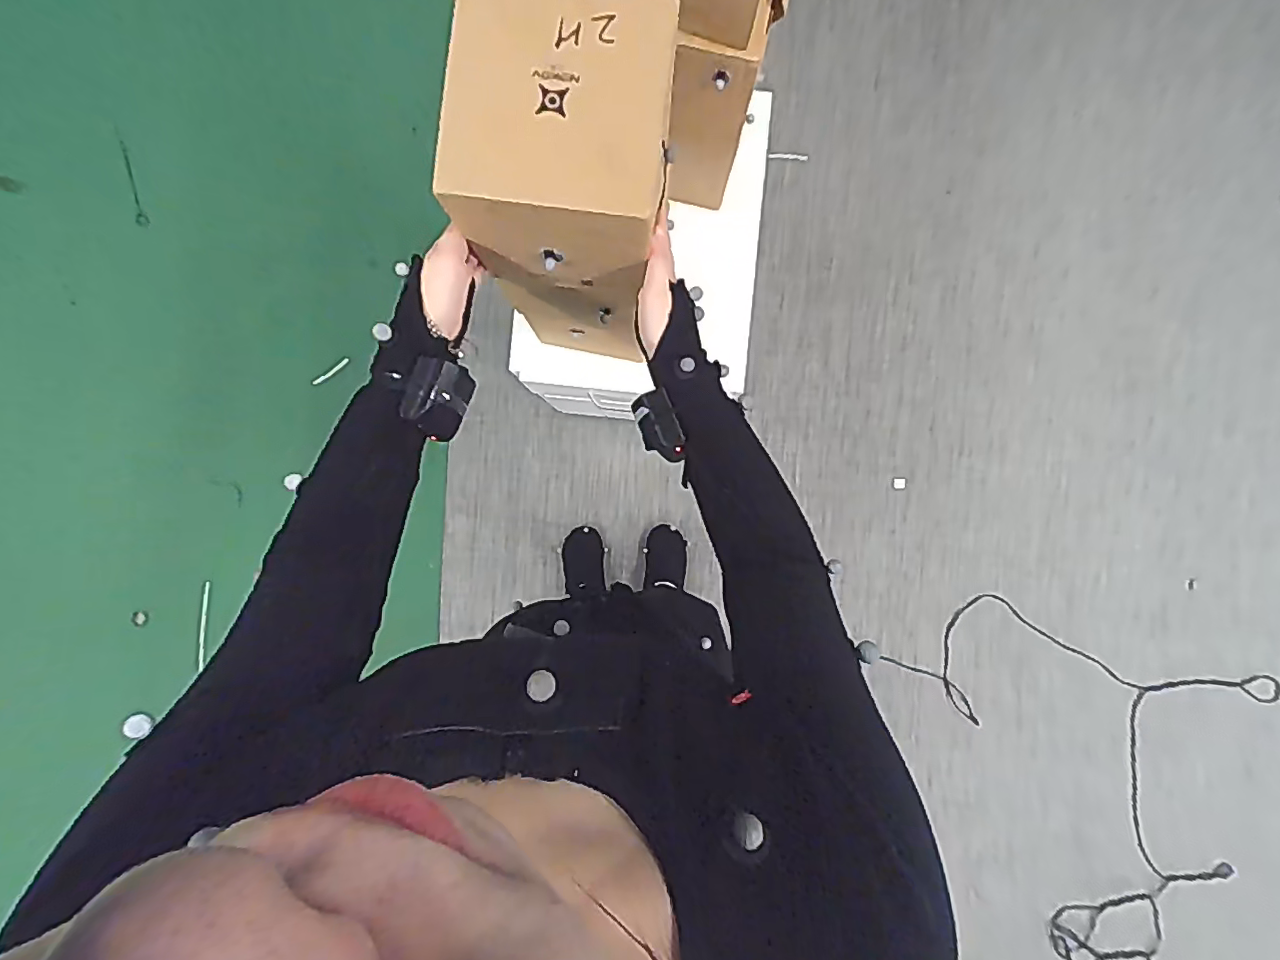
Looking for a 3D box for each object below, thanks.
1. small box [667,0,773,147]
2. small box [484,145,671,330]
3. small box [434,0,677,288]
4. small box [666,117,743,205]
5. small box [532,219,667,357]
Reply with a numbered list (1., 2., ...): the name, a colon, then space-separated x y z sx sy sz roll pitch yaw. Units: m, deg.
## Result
1. small box: 0.060 -0.544 0.656 0.179 0.176 0.168 12 90 -1
2. small box: -0.066 -0.293 0.656 0.179 0.176 0.168 11 89 0
3. small box: -0.064 -0.291 0.484 0.168 0.176 0.179 8 89 -1
4. small box: 0.065 -0.548 0.819 0.179 0.176 0.168 13 91 0
5. small box: -0.065 -0.296 0.818 0.179 0.176 0.168 12 90 -2
